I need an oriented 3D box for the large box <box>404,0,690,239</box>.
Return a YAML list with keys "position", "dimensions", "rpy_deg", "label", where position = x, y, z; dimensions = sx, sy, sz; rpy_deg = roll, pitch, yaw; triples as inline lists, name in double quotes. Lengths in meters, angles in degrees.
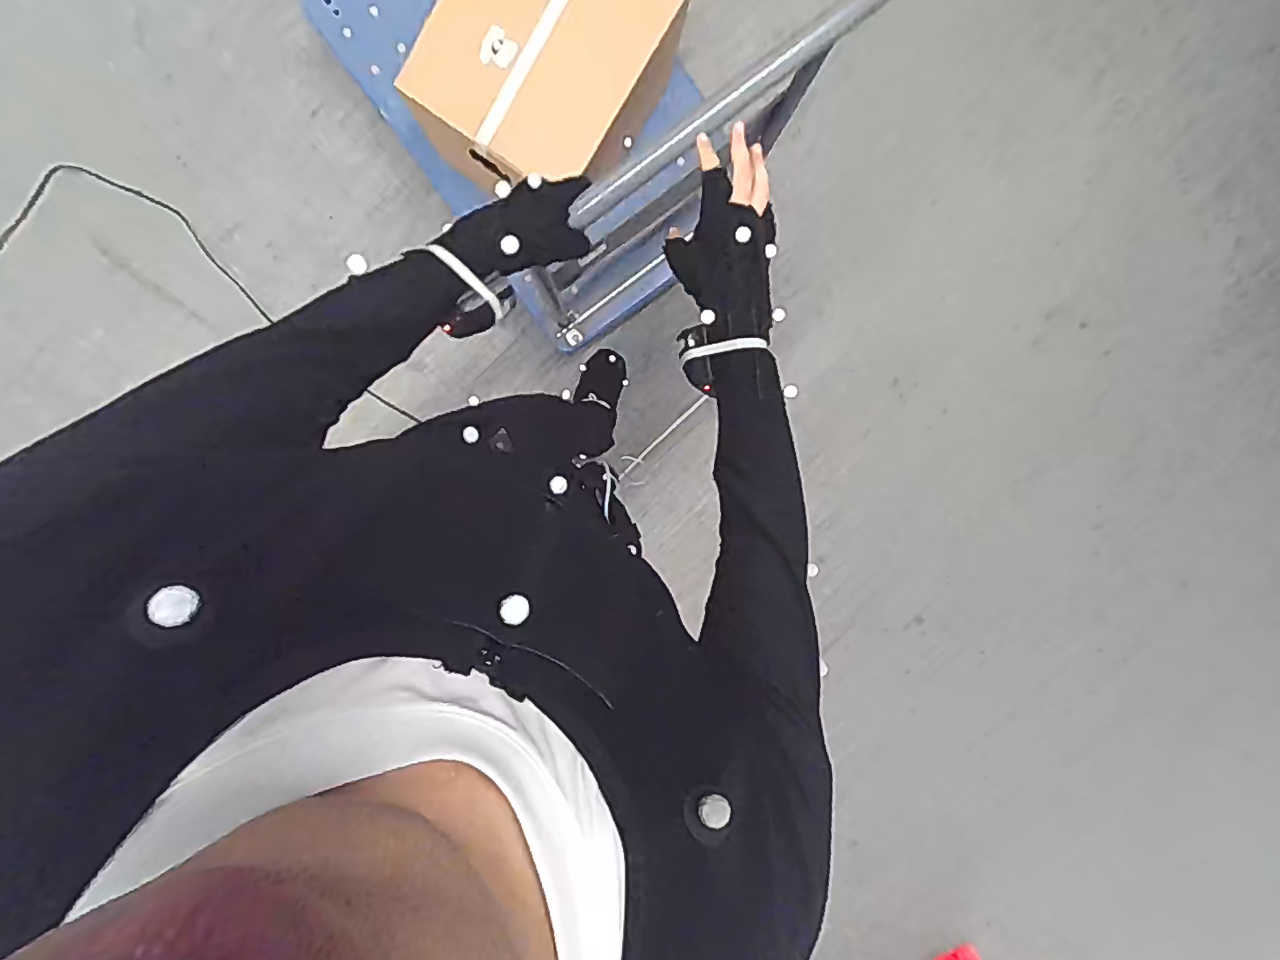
- position: [-0.155, -0.738, 0.997]
  dimensions: [0.320, 0.320, 0.408]
  rpy_deg: [32, 97, -10]
  label: "large box"
